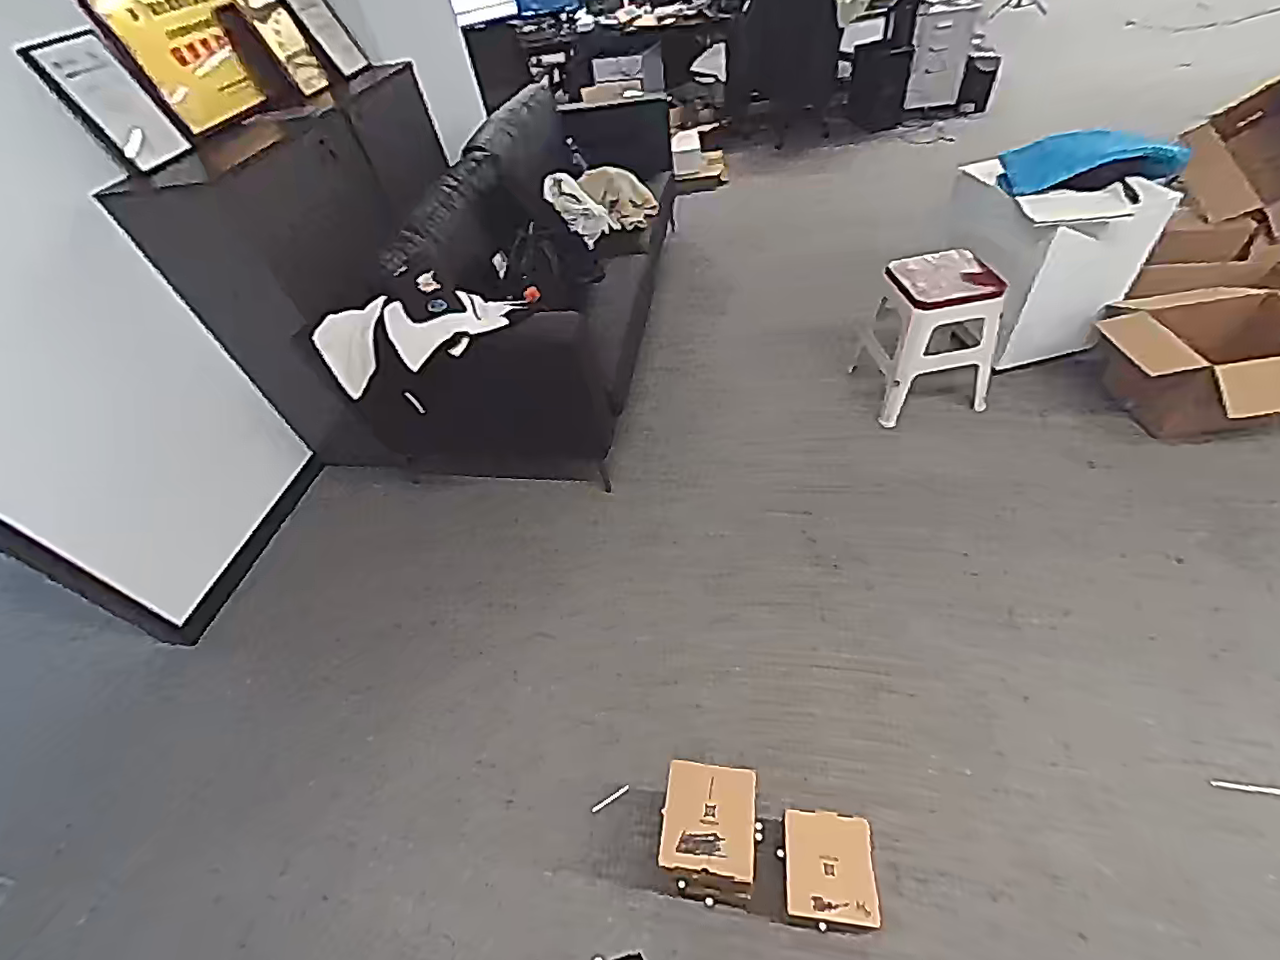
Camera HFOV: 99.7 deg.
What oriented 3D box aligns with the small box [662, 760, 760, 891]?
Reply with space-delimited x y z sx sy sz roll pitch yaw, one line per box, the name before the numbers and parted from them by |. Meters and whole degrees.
small box | 0.144 0.666 1.039 0.168 0.176 0.179 1 48 12
